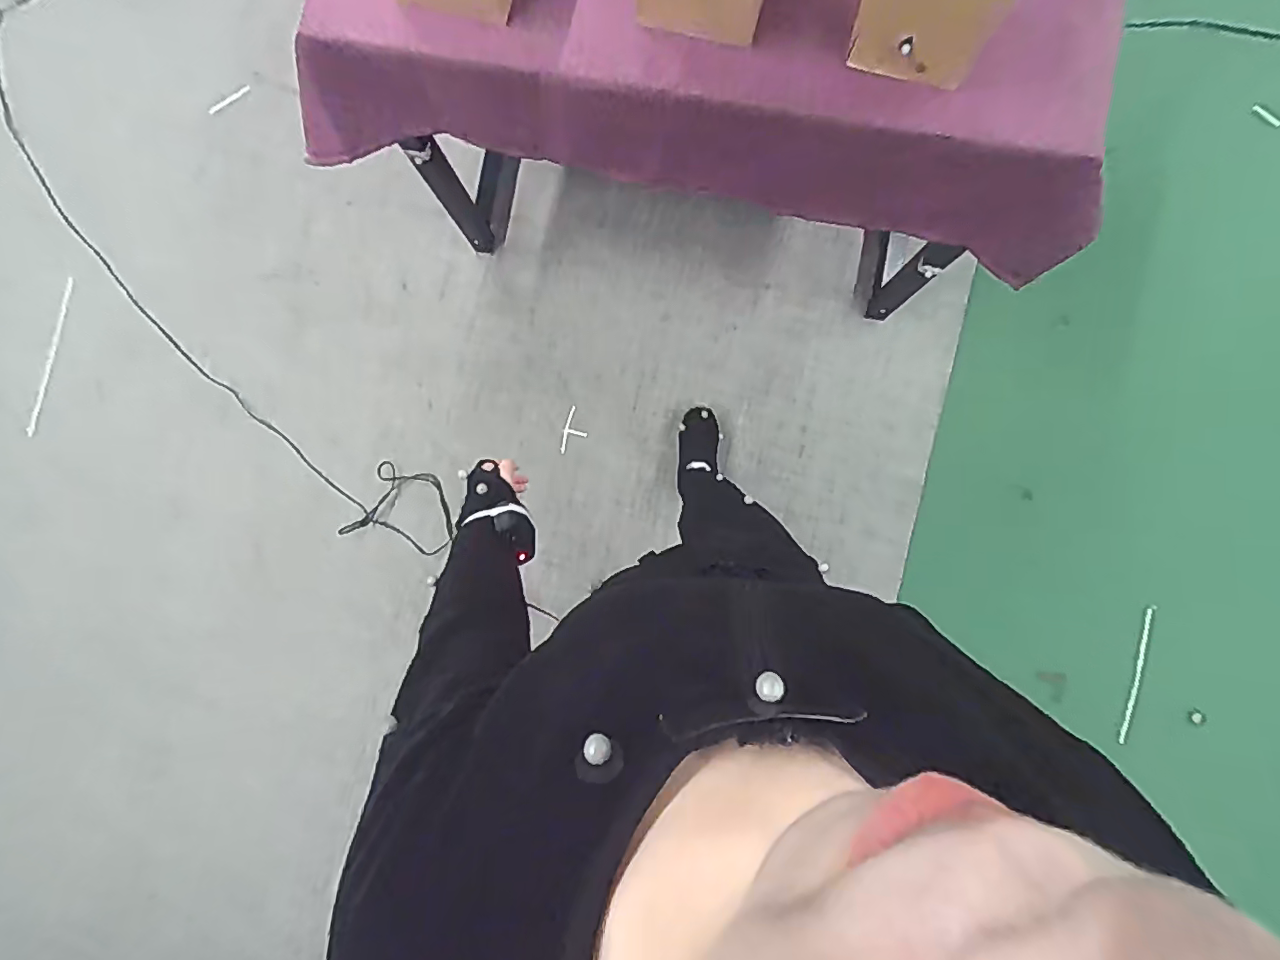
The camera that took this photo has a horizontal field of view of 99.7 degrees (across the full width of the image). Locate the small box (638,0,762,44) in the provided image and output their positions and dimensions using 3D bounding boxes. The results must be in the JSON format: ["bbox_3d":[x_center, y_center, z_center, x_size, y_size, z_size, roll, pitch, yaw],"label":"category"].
[{"bbox_3d":[0.094,-0.743,0.730,0.179,0.176,0.168,15,88,3],"label":"small box"}]

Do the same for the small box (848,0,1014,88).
[{"bbox_3d":[0.399,-0.679,0.718,0.168,0.176,0.179,16,88,3],"label":"small box"}]

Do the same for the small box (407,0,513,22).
[{"bbox_3d":[-0.269,-0.787,0.743,0.179,0.176,0.168,14,87,2],"label":"small box"}]
